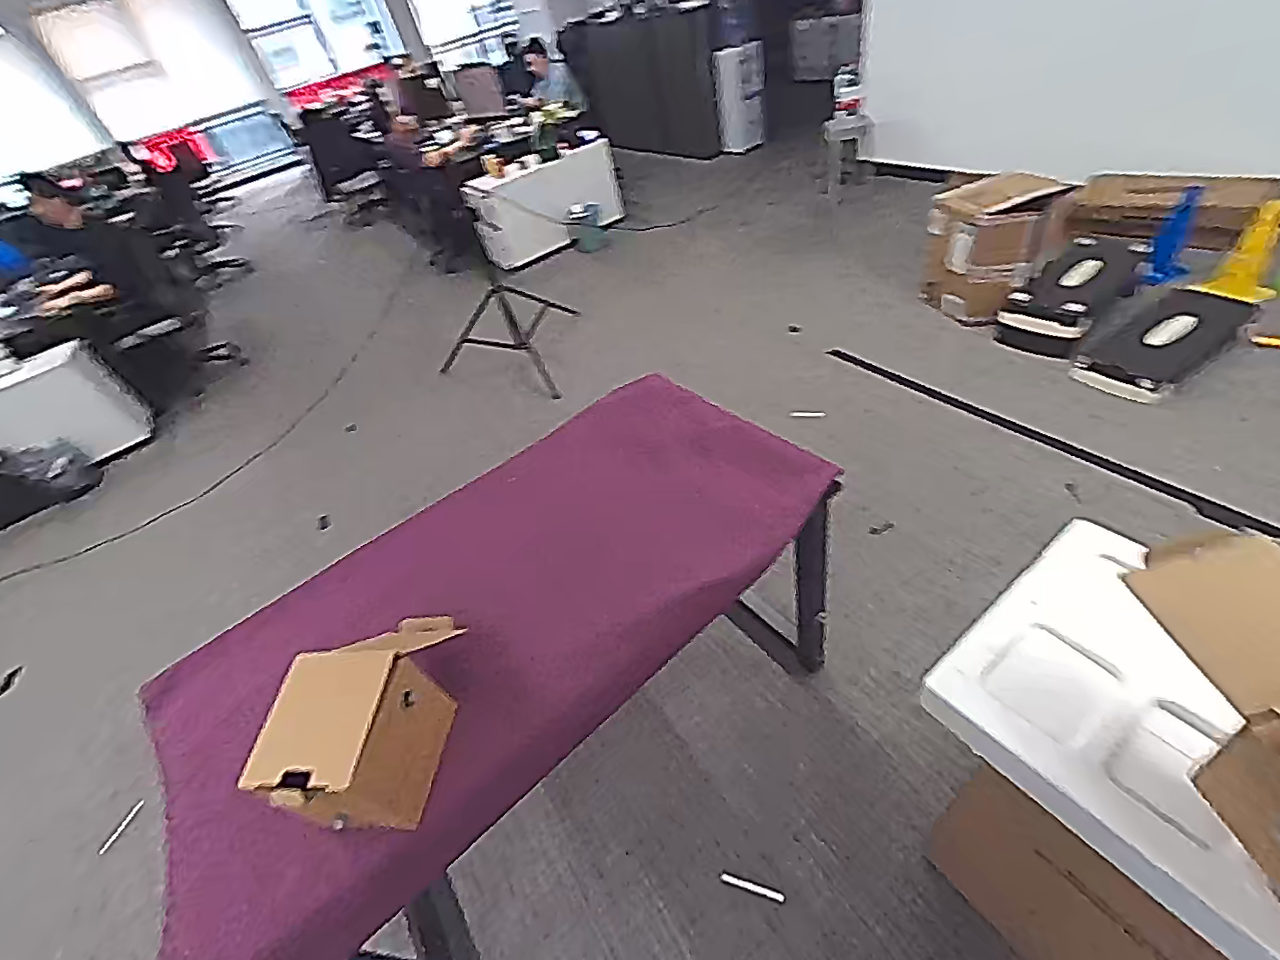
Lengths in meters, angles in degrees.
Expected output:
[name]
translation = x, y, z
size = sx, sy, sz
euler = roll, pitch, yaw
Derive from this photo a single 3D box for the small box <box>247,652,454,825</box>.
[small box]
translation = -0.395, 0.369, 0.779
size = 0.168, 0.176, 0.179
euler = -6, 43, 13
